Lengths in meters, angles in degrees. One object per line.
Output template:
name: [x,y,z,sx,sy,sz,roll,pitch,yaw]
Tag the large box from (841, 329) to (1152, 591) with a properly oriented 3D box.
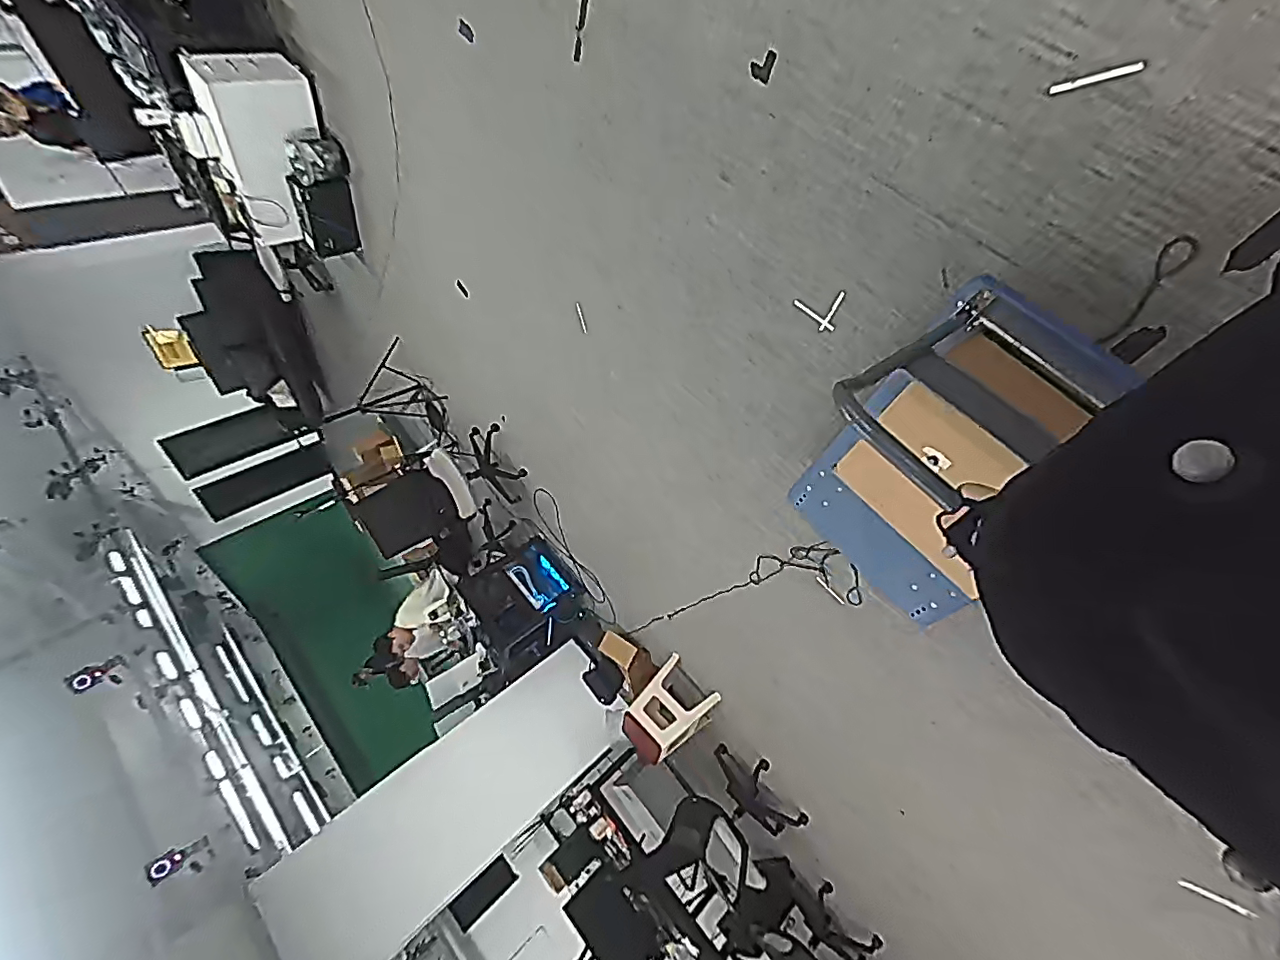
large box: [0.740,-0.050,1.160,0.408,0.320,0.320,48,145,18]
